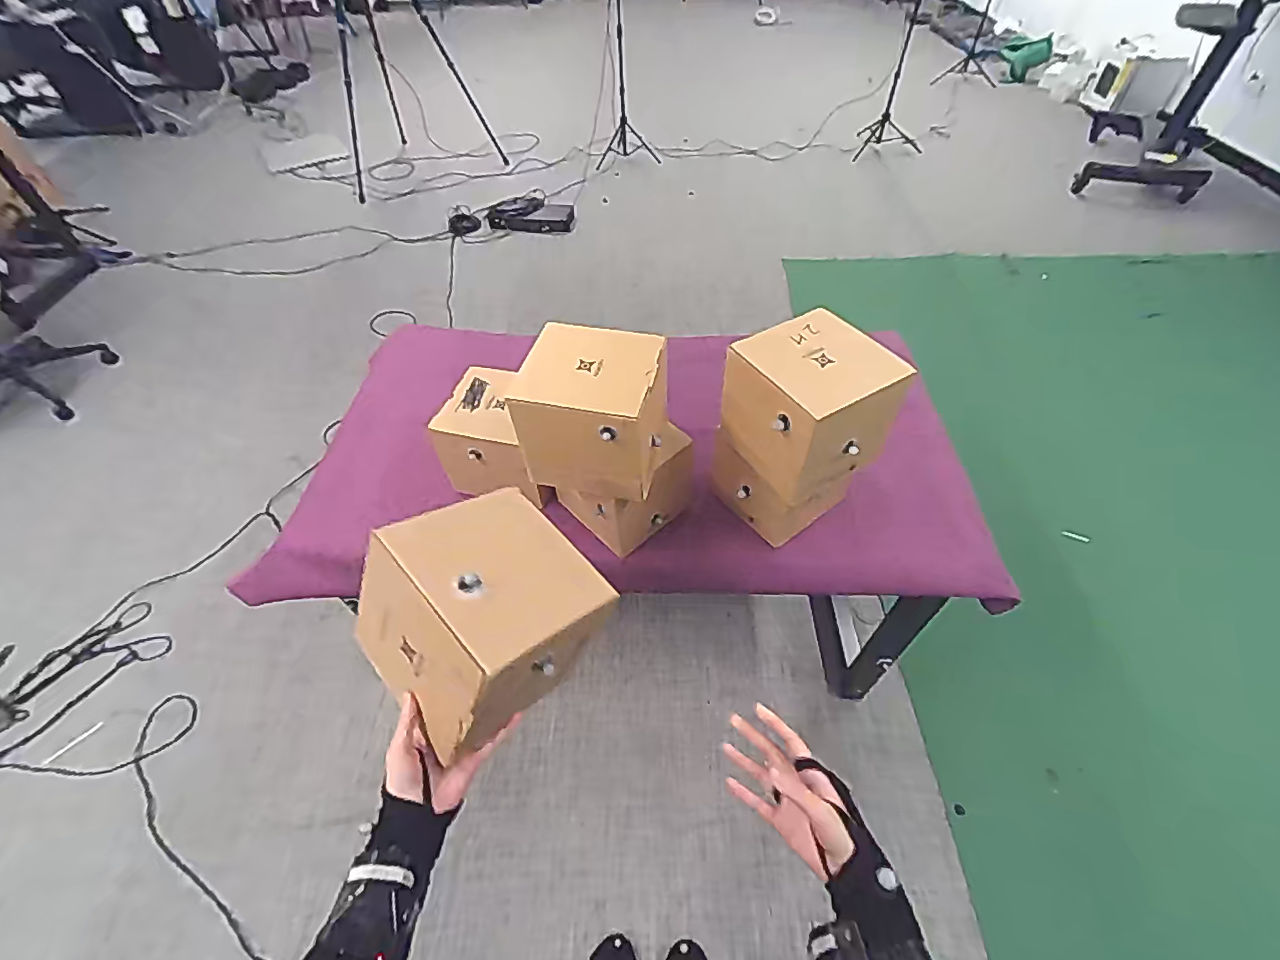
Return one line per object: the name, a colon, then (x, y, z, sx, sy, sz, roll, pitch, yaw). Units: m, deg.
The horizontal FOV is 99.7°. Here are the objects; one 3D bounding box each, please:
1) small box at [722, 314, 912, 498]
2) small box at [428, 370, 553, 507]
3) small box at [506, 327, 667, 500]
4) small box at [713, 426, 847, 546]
small box: (0.232, -0.097, 0.758, 0.168, 0.176, 0.179, -25, 52, -18)
small box: (-0.239, -0.071, 0.966, 0.179, 0.176, 0.168, 11, 52, 9)
small box: (-0.064, -0.091, 0.765, 0.179, 0.176, 0.168, 10, 51, 9)
small box: (0.238, -0.020, 0.910, 0.179, 0.176, 0.168, -31, 55, -22)
